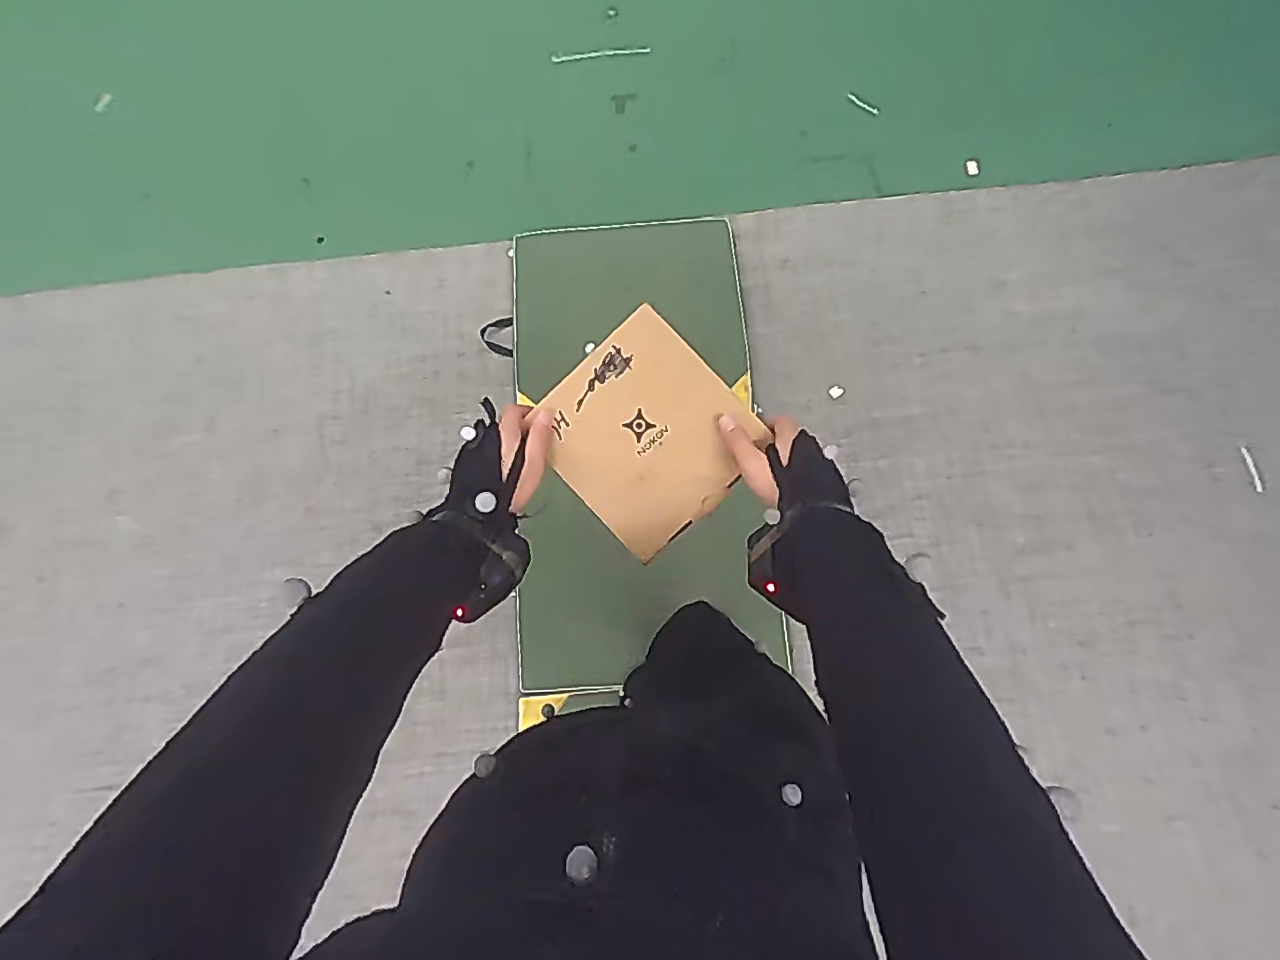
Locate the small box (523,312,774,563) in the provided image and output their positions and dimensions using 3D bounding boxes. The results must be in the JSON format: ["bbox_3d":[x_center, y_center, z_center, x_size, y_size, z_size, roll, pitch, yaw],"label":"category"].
[{"bbox_3d":[0.012,-0.039,0.575,0.168,0.176,0.179,-43,87,1],"label":"small box"}]
